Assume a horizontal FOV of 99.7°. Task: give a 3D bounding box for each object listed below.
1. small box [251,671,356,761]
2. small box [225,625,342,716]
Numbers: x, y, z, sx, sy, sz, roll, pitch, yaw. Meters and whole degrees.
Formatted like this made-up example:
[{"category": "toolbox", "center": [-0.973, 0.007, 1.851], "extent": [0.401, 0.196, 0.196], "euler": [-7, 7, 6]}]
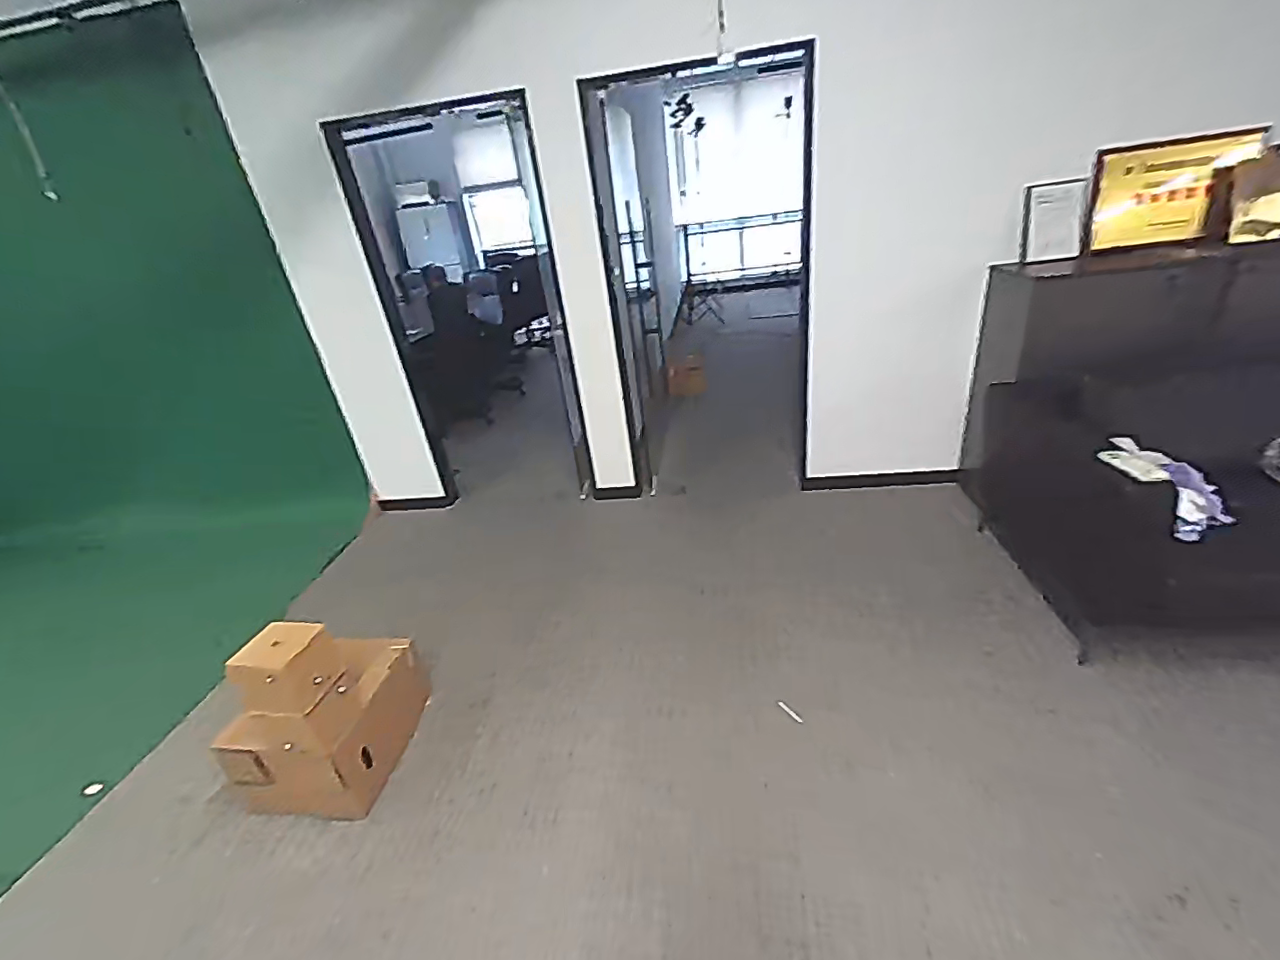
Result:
[{"category": "small box", "center": [-0.943, 0.664, 1.539], "extent": [0.168, 0.176, 0.179], "euler": [-2, 27, 11]}, {"category": "small box", "center": [-0.958, 0.517, 1.469], "extent": [0.179, 0.176, 0.168], "euler": [0, 27, 11]}]
